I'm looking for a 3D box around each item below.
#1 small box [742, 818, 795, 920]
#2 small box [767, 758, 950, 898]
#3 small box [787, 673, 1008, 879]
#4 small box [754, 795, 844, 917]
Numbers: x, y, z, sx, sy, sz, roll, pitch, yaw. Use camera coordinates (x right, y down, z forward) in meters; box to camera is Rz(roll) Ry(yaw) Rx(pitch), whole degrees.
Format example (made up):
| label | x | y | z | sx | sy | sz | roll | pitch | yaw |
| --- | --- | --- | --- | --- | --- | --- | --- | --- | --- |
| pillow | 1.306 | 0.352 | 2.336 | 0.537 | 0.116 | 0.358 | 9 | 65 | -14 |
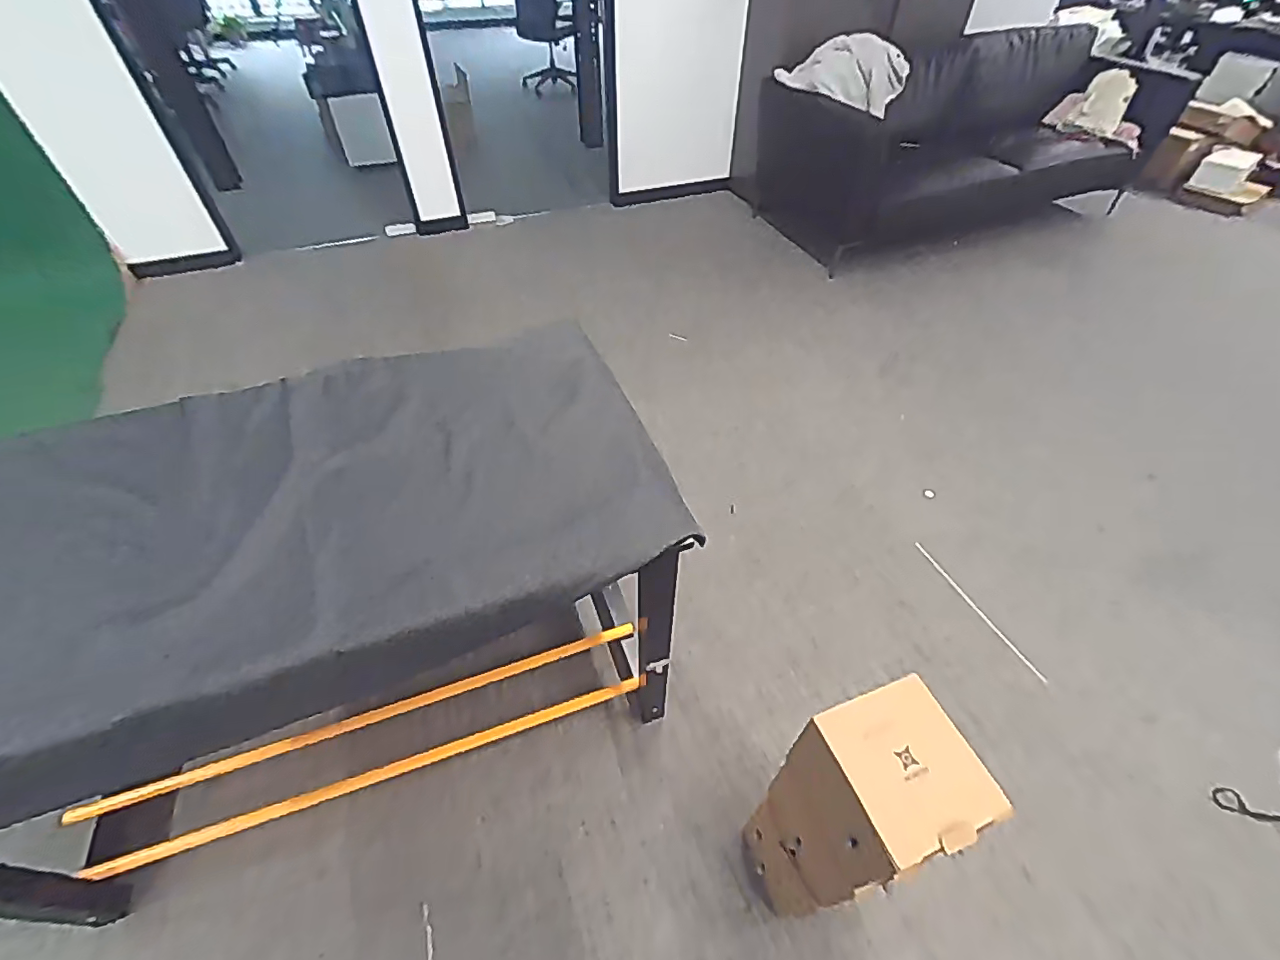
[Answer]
| label | x | y | z | sx | sy | sz | roll | pitch | yaw |
| --- | --- | --- | --- | --- | --- | --- | --- | --- | --- |
| small box | 0.323 | 0.730 | 1.066 | 0.179 | 0.176 | 0.168 | -14 | 48 | -14 |
| small box | 0.318 | 0.507 | 0.826 | 0.168 | 0.176 | 0.179 | -14 | 50 | -15 |
| small box | 0.319 | 0.393 | 0.711 | 0.168 | 0.176 | 0.179 | -16 | 48 | -15 |
| small box | 0.315 | 0.624 | 0.941 | 0.179 | 0.176 | 0.168 | -16 | 49 | -16 |
